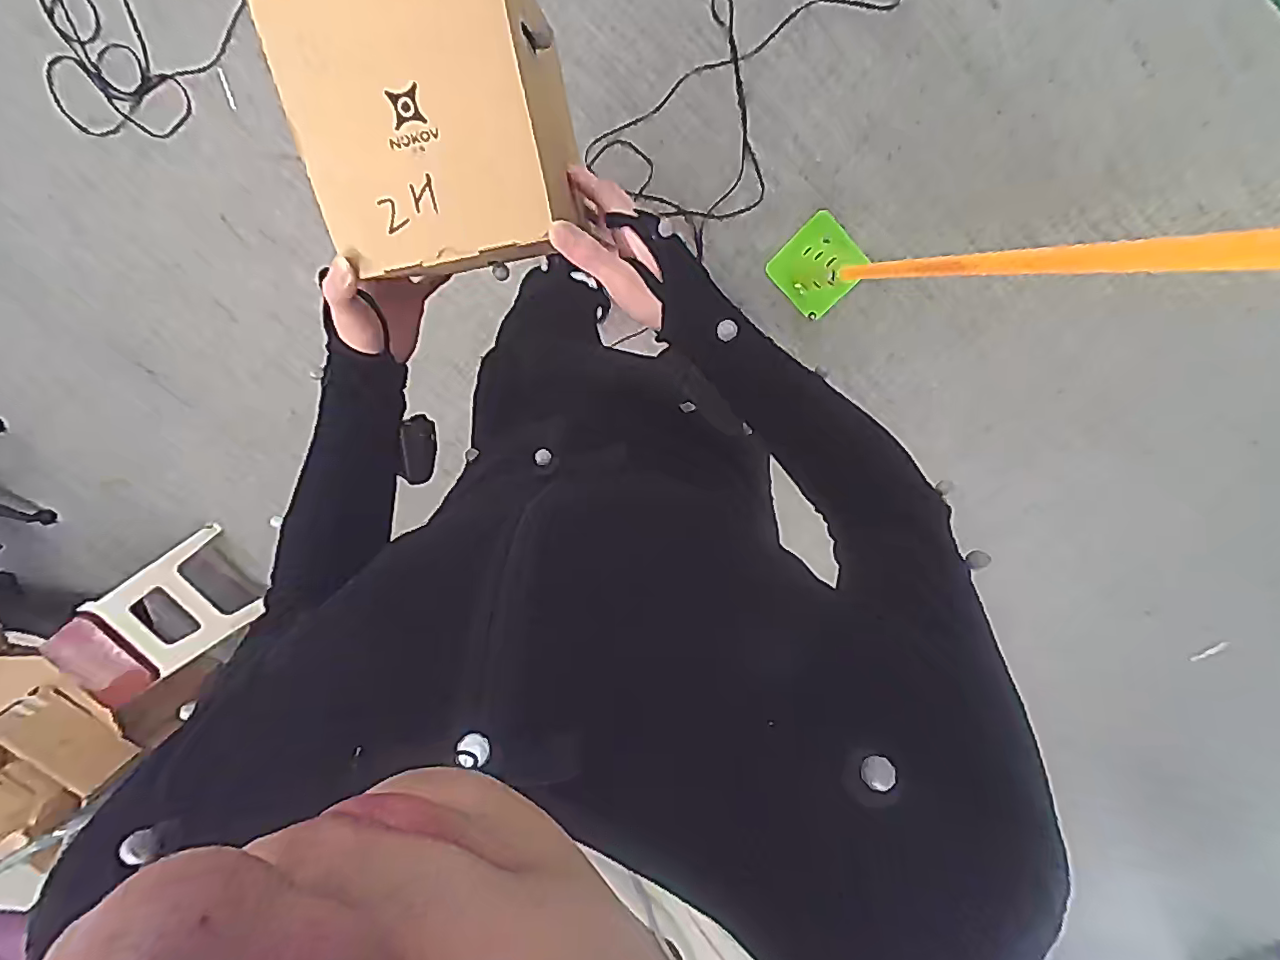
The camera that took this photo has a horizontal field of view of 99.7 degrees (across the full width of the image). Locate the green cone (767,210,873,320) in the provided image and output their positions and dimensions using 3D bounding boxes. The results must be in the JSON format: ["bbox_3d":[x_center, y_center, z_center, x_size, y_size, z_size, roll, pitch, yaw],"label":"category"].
[{"bbox_3d":[0.431,-0.476,1.206,0.202,0.368,0.200,43,111,-9],"label":"green cone"}]
